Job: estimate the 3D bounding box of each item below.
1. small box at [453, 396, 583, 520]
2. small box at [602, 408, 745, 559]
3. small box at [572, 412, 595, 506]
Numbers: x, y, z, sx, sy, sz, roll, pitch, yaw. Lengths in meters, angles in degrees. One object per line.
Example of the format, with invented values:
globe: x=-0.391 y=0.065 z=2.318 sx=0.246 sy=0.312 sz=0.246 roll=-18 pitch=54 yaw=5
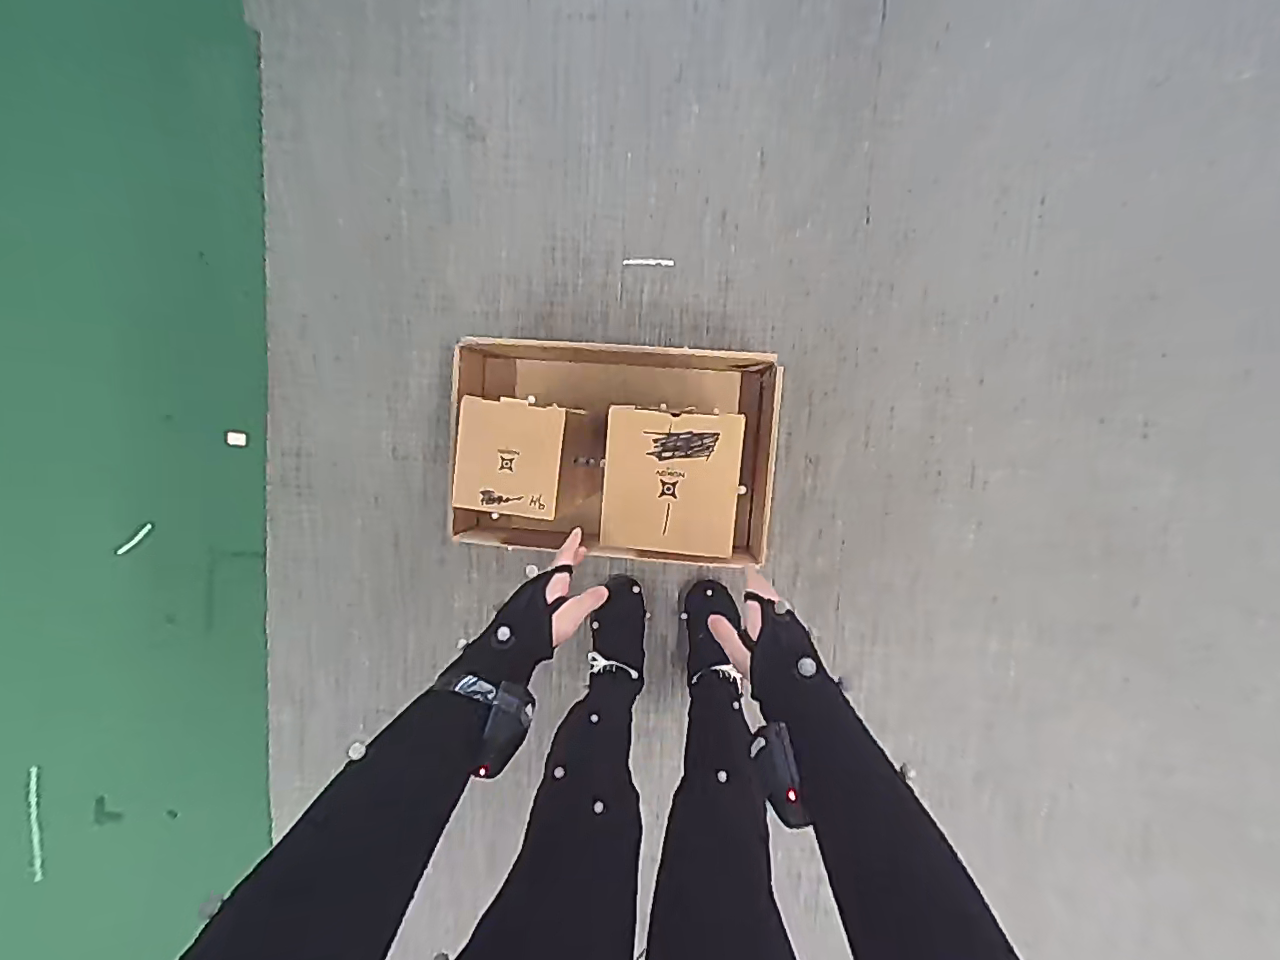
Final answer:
small box: x=-0.197 y=-0.039 z=0.921 sx=0.168 sy=0.176 sz=0.179 roll=8 pitch=94 yaw=4
small box: x=0.047 y=-0.002 z=0.747 sx=0.168 sy=0.176 sz=0.179 roll=5 pitch=96 yaw=6
small box: x=-0.182 y=-0.050 z=1.086 sx=0.168 sy=0.176 sz=0.179 roll=3 pitch=95 yaw=2
